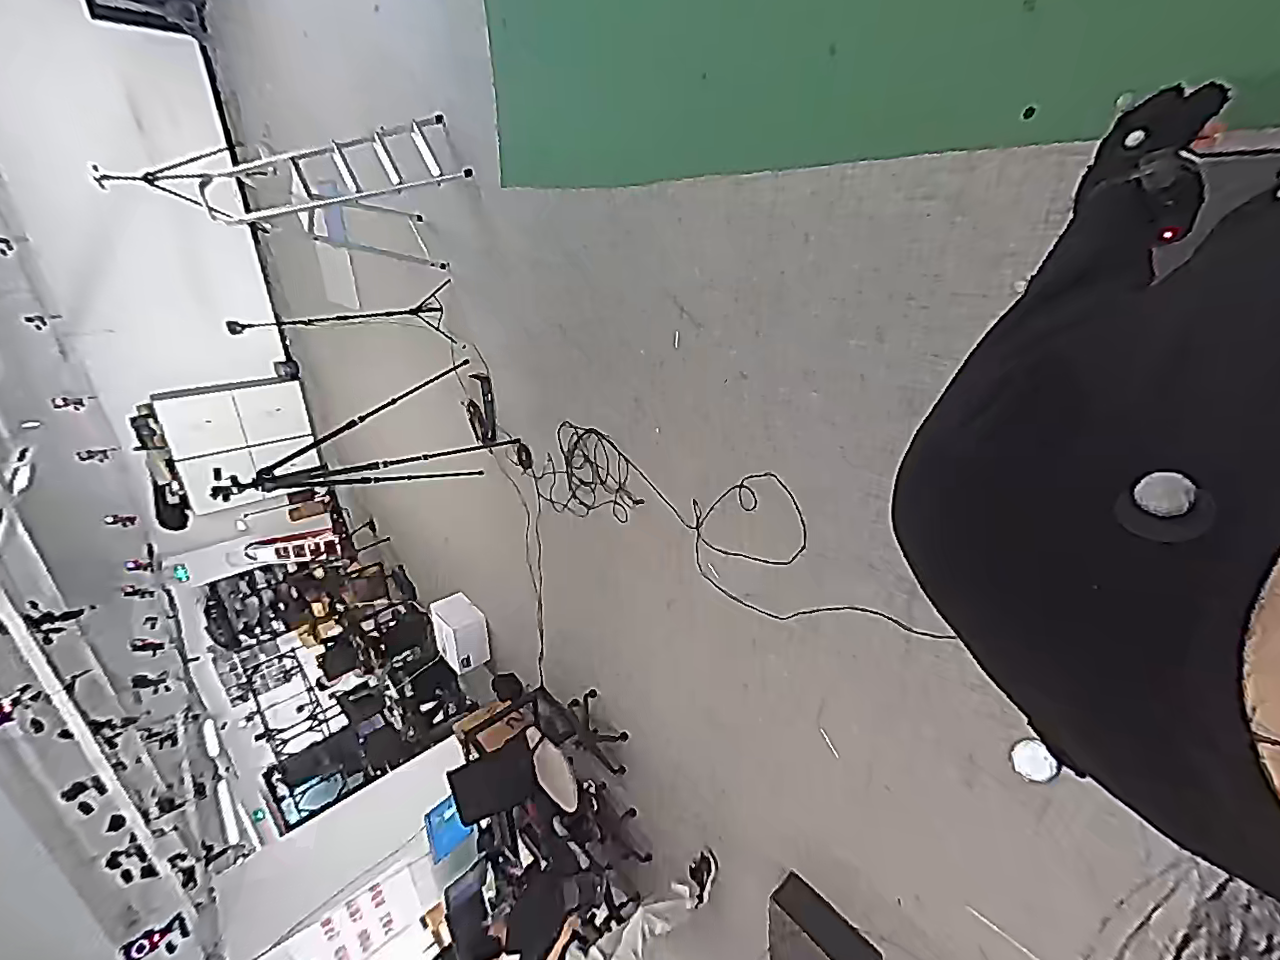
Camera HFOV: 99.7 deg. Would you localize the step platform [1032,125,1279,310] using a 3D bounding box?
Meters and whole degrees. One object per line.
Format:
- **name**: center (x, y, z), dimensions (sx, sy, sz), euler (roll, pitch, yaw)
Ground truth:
- **step platform**: center (1.054, -0.407, 0.844), dimensions (0.684, 0.204, 0.286), euler (25, 125, 43)
